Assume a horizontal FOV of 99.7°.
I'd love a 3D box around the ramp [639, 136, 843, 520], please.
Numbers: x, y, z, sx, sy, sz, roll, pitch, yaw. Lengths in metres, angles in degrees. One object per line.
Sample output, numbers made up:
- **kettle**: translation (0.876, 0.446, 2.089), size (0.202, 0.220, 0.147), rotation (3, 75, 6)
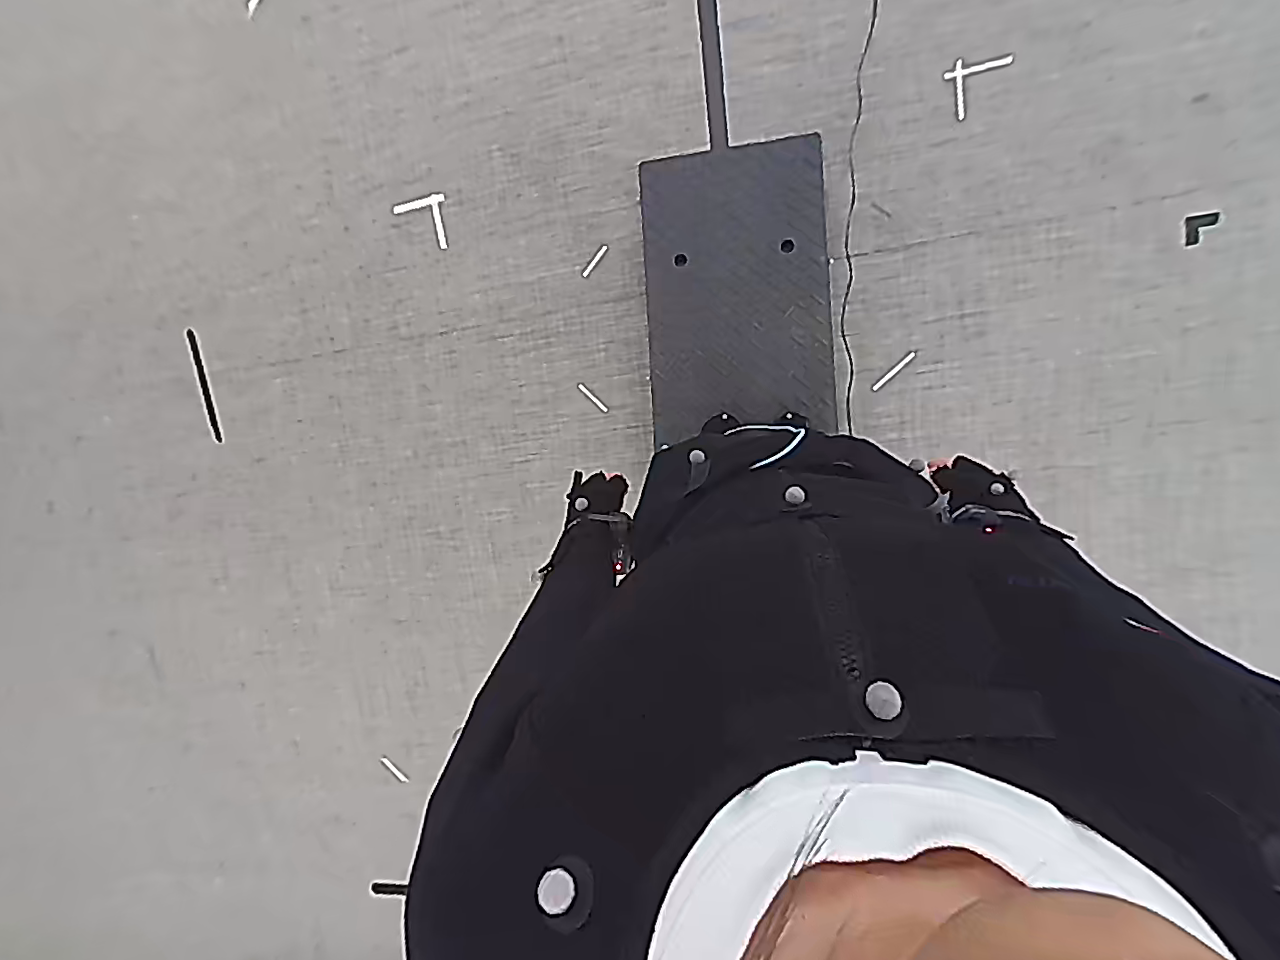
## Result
- **ramp**: translation (0.259, -0.398, 1.462), size (0.509, 0.206, 0.991), rotation (-5, 98, 12)
